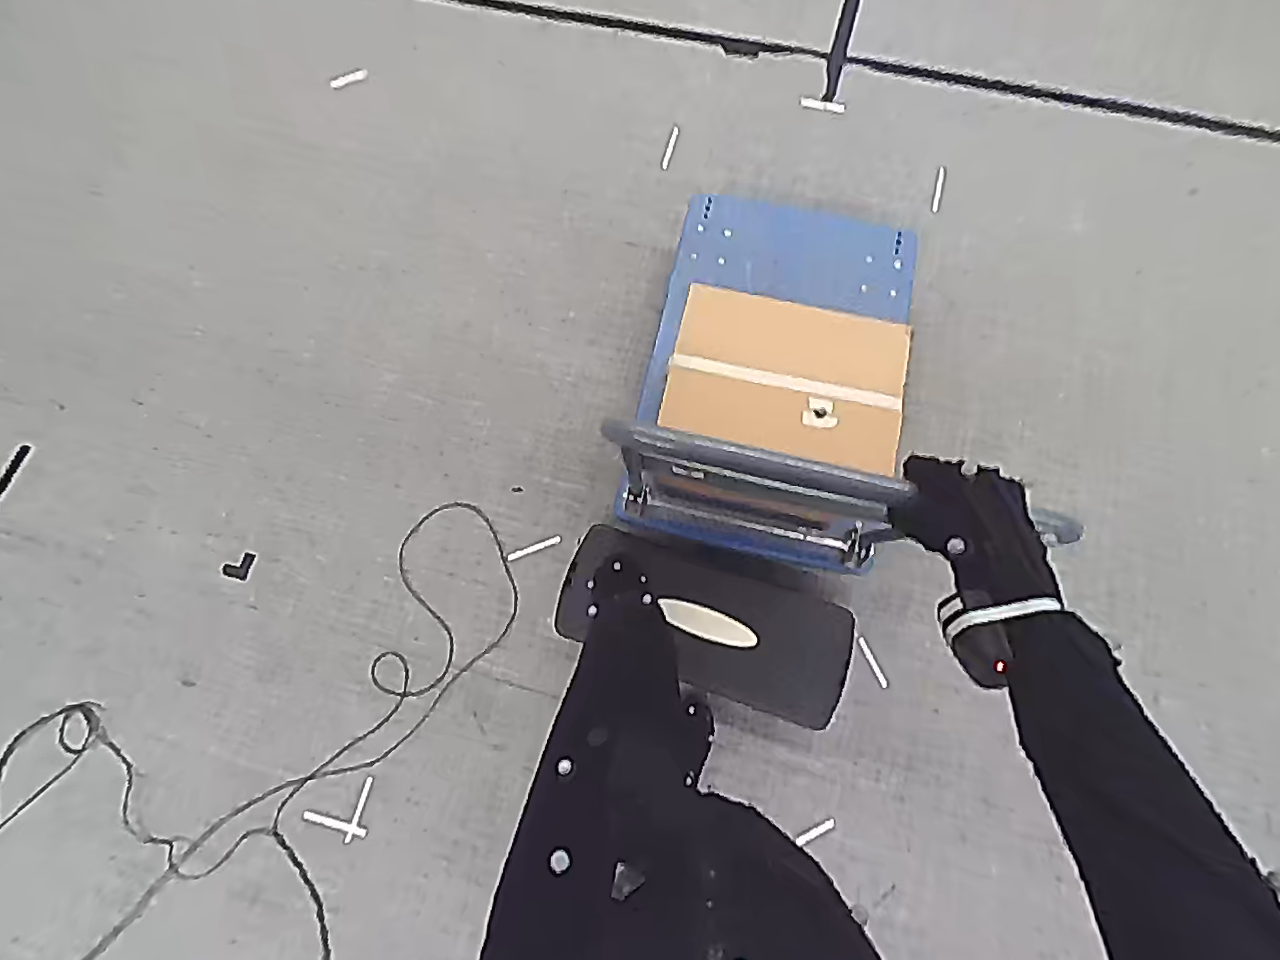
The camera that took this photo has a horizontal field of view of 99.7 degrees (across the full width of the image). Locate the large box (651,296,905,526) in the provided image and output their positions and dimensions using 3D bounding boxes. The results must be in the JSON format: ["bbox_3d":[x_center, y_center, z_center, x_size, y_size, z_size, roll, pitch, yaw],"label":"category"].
[{"bbox_3d":[0.245,-0.117,1.080,0.408,0.320,0.320,13,77,4],"label":"large box"}]
